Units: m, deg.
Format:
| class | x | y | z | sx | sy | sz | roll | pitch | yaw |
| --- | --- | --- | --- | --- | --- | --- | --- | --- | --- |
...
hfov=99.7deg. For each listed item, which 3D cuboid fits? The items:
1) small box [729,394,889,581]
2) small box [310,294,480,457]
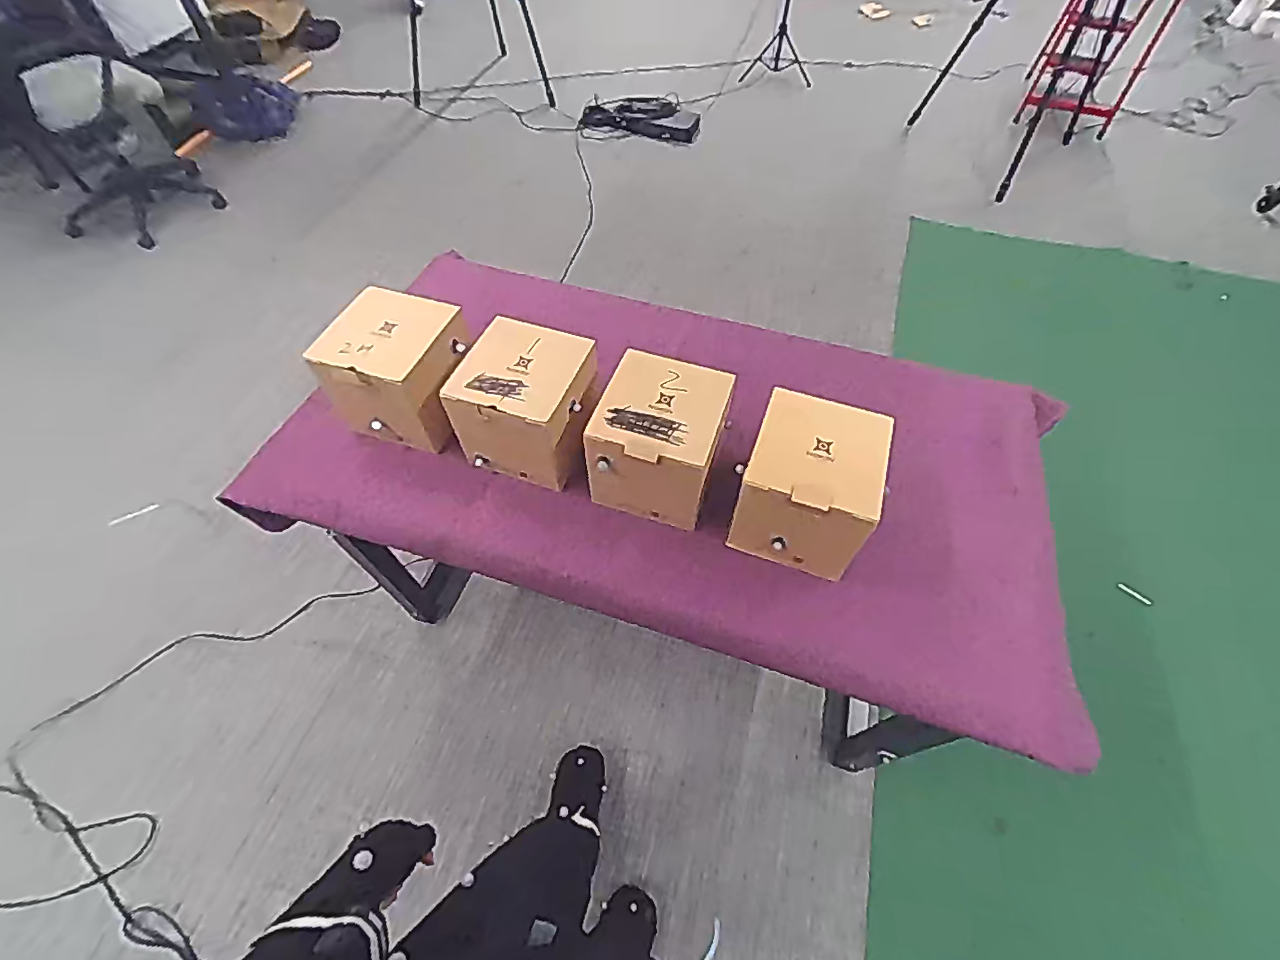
| class | x | y | z | sx | sy | sz | roll | pitch | yaw |
| --- | --- | --- | --- | --- | --- | --- | --- | --- | --- |
| small box | 0.232 | 0.013 | 0.767 | 0.168 | 0.176 | 0.179 | 17 | 57 | 11 |
| small box | -0.381 | -0.168 | 0.884 | 0.168 | 0.176 | 0.179 | 15 | 57 | 10 |
